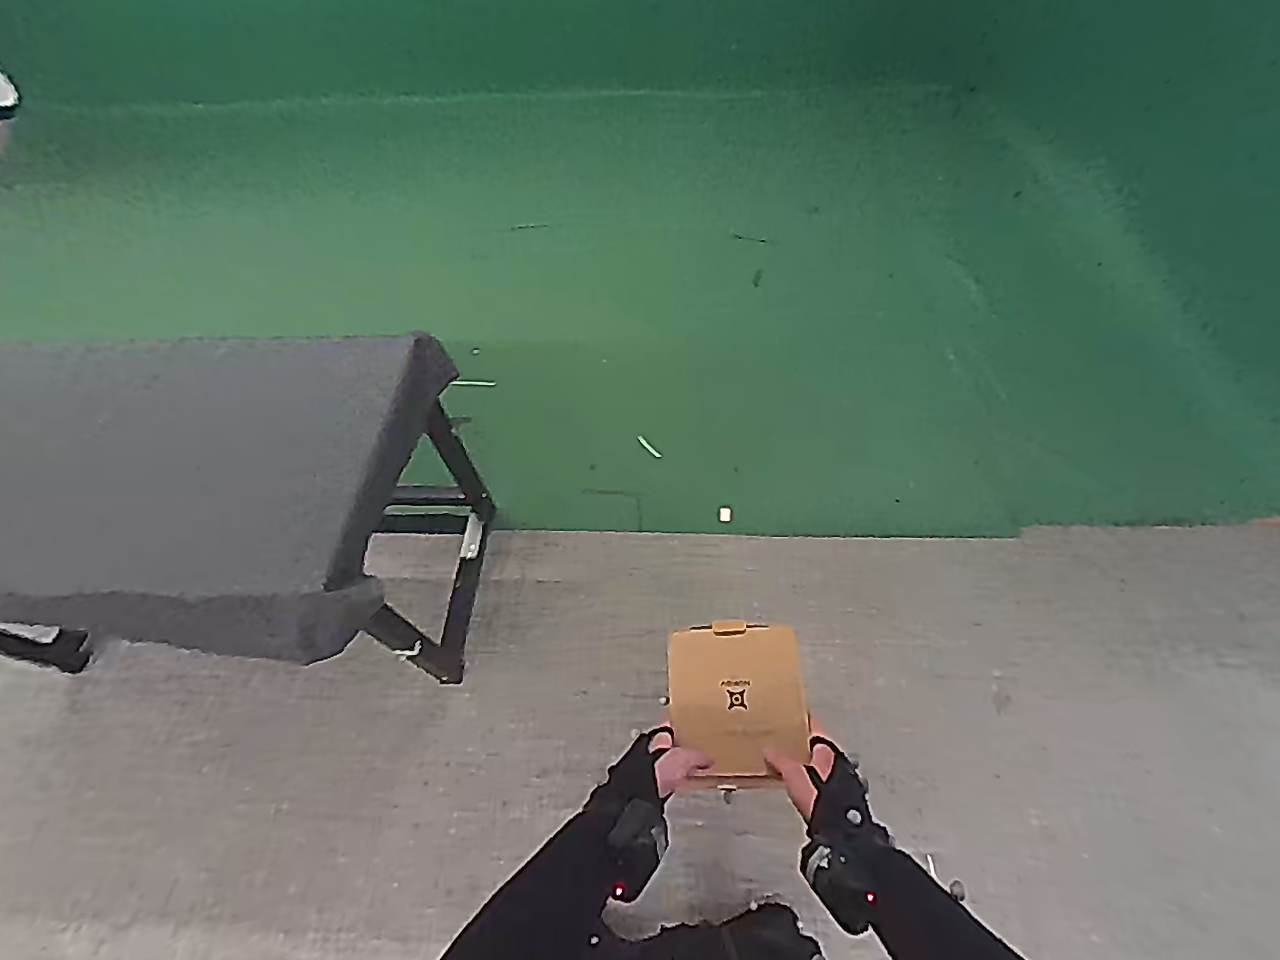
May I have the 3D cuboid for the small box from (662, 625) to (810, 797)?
[{"bbox_3d":[0.116,0.304,0.708,0.168,0.176,0.179,-2,55,6],"label":"small box"}]
